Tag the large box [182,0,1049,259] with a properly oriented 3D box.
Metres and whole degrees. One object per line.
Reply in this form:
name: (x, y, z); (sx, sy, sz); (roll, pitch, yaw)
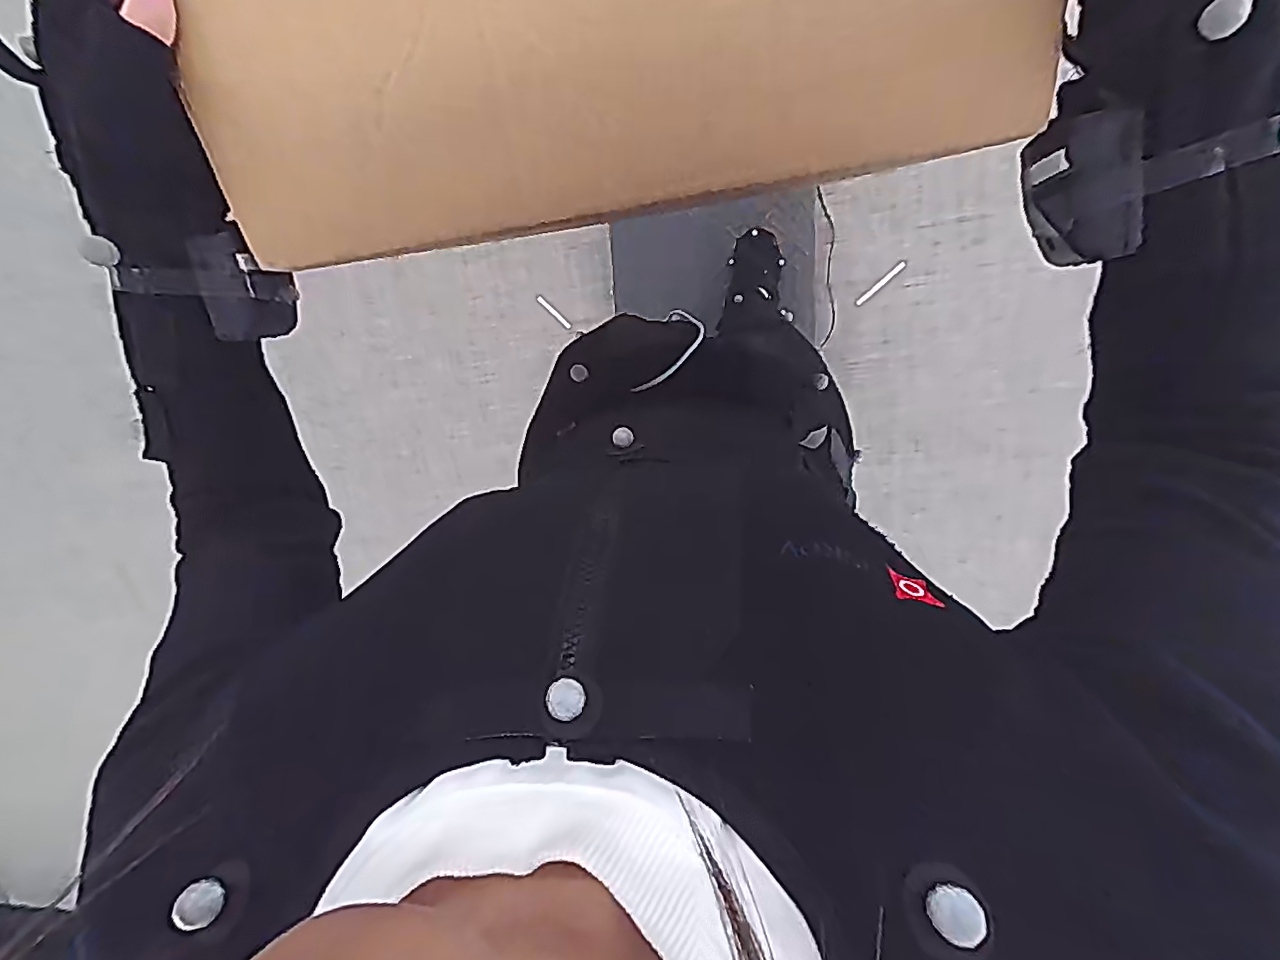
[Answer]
large box: (-0.021, -0.351, 0.353); (0.408, 0.320, 0.320); (-5, 116, 10)
